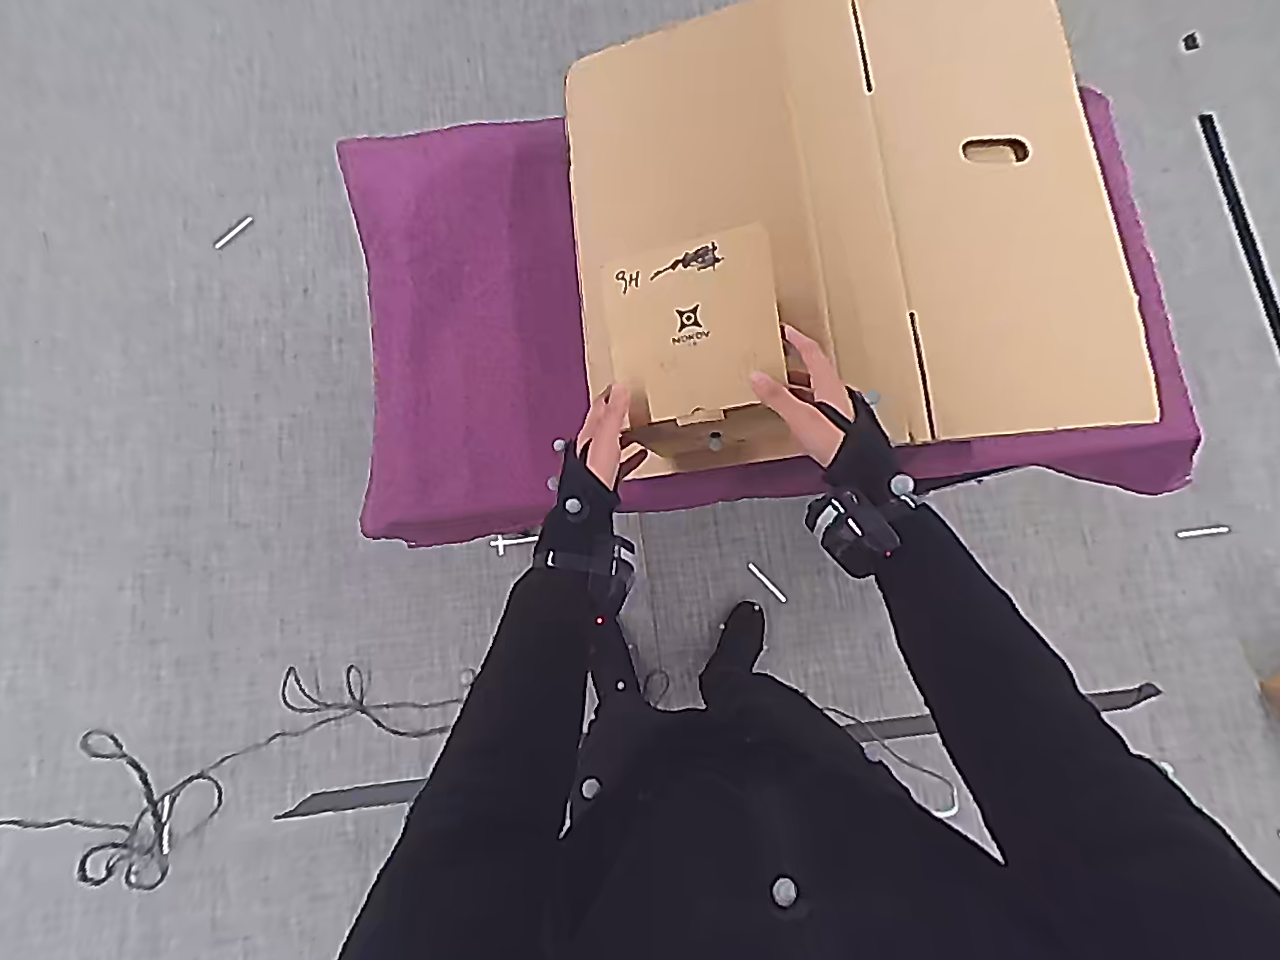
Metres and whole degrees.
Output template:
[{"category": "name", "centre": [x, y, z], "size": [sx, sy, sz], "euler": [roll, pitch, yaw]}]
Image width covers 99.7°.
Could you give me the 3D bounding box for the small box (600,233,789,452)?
[{"category": "small box", "centre": [0.068, -0.130, 0.592], "size": [0.168, 0.176, 0.179], "euler": [-8, 82, 16]}]
